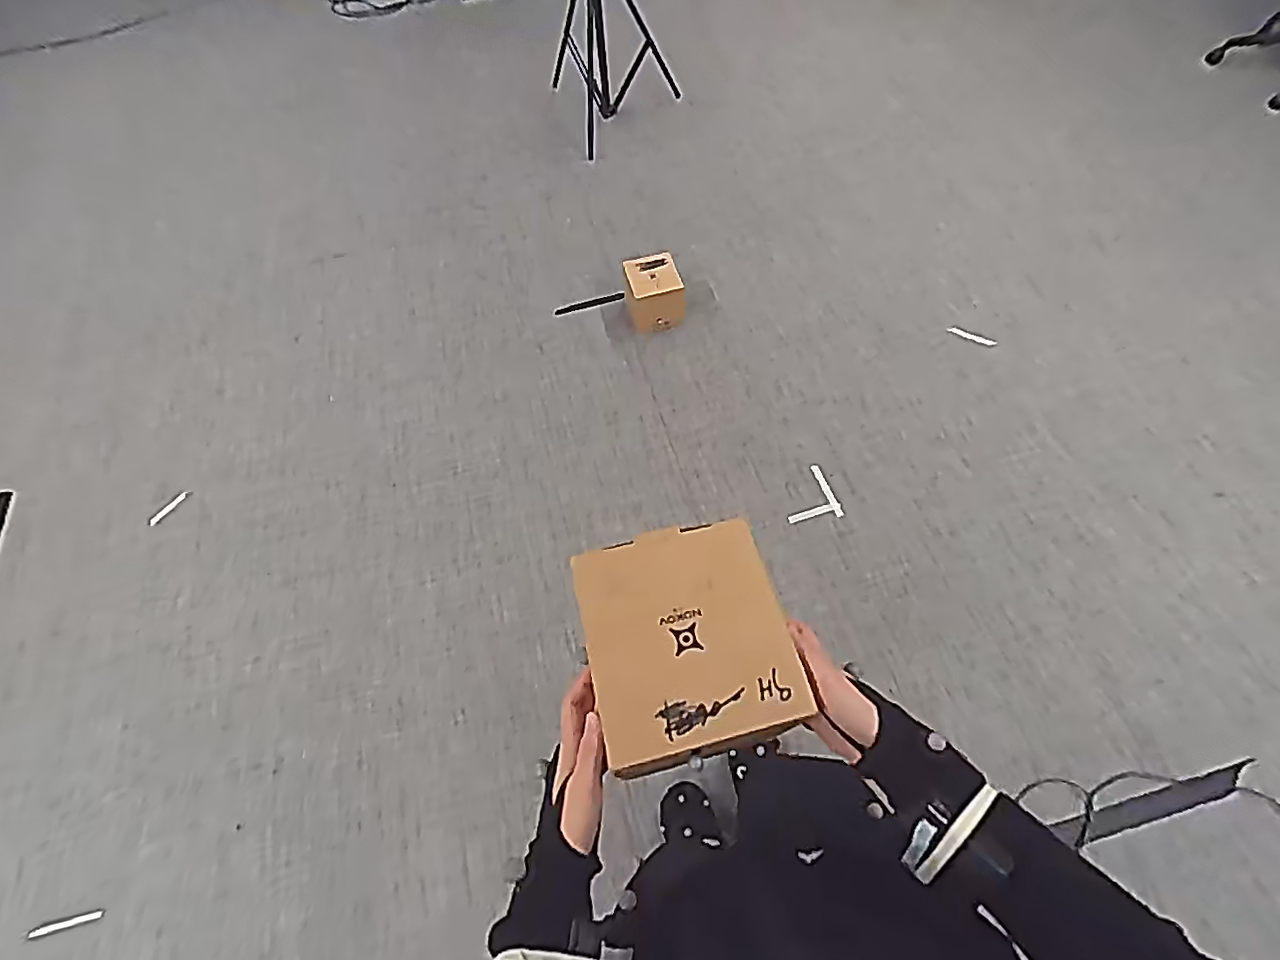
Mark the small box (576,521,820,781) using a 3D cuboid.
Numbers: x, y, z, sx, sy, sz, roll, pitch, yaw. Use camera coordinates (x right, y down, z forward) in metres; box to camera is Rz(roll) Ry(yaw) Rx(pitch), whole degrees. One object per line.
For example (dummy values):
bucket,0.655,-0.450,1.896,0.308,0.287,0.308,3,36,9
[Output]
small box,0.039,0.165,0.511,0.168,0.176,0.179,-12,59,-6
